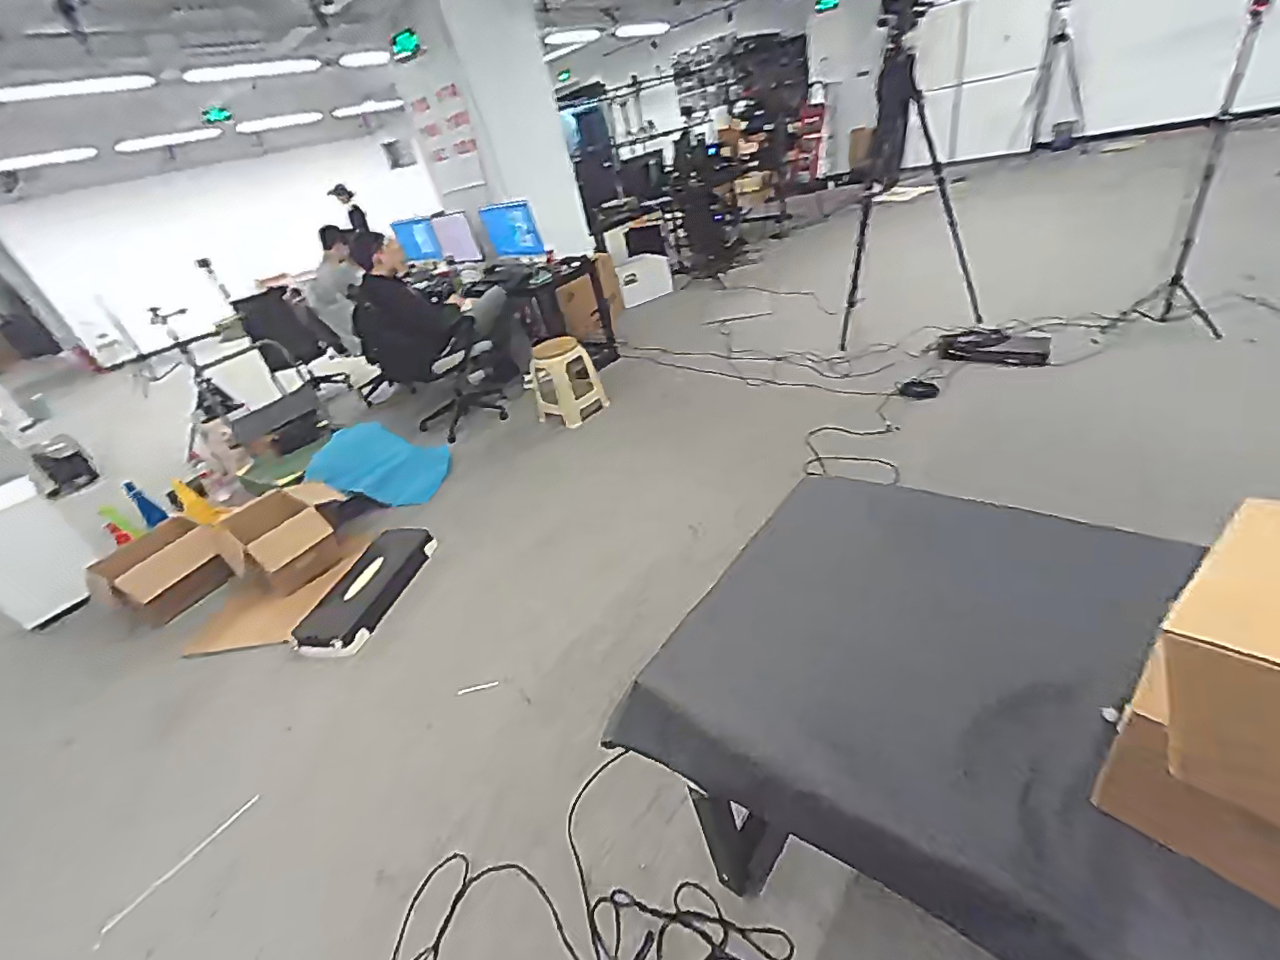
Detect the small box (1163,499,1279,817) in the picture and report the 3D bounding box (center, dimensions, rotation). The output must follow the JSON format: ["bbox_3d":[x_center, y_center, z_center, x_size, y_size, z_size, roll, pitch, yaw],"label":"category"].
[{"bbox_3d":[0.497,0.139,0.358,0.168,0.176,0.179,-37,26,-19],"label":"small box"}]

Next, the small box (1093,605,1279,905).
[{"bbox_3d":[0.575,0.260,0.511,0.168,0.176,0.179,-34,36,-30],"label":"small box"}]
